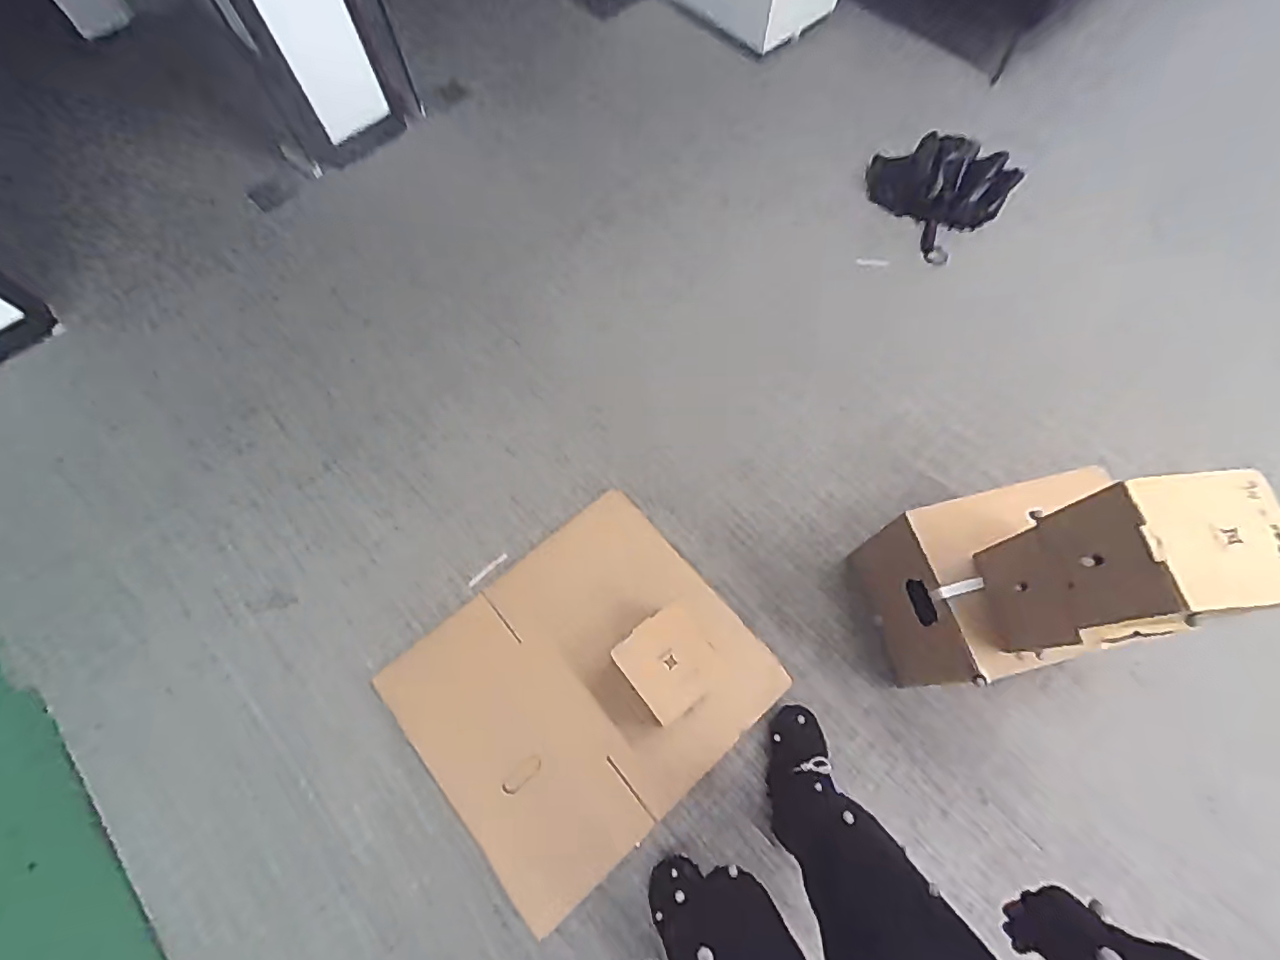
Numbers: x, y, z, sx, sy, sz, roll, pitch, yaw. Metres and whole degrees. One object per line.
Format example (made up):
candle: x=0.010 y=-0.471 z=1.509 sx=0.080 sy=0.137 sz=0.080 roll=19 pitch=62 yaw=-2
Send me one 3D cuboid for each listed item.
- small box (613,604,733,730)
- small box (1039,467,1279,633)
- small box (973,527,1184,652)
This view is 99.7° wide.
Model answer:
small box: x=0.062 y=0.385 z=1.105 sx=0.168 sy=0.176 sz=0.179 roll=-37 pitch=71 yaw=-13
small box: x=0.685 y=0.100 z=0.724 sx=0.179 sy=0.176 sz=0.168 roll=-7 pitch=65 yaw=-3
small box: x=0.682 y=0.175 z=0.867 sx=0.168 sy=0.176 sz=0.179 roll=-6 pitch=67 yaw=-2
